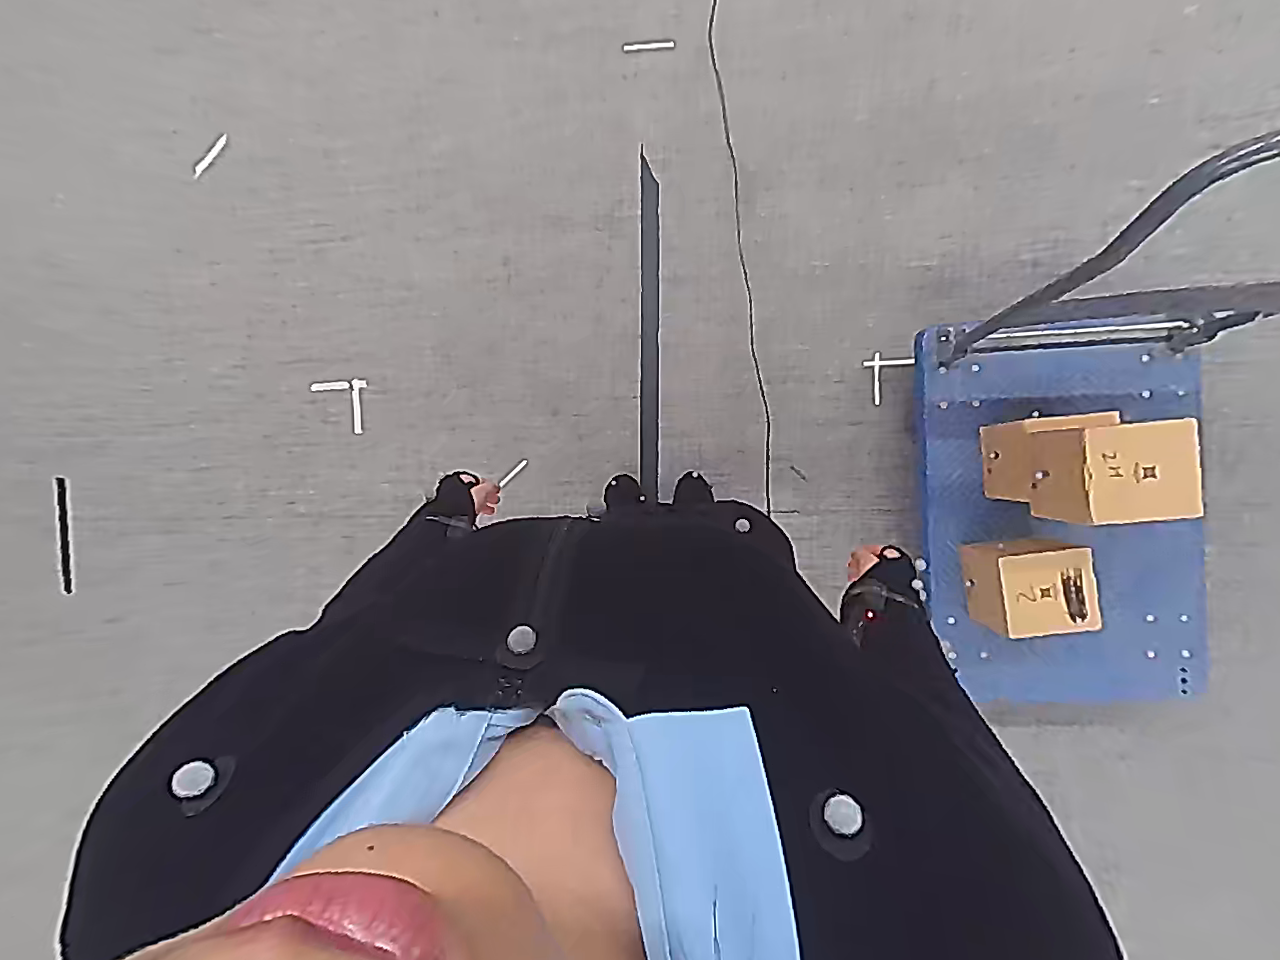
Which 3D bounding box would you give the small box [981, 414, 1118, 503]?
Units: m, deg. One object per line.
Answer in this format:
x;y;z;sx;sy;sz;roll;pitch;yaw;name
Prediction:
0.856;-0.046;1.138;0.179;0.176;0.168;-5;91;7;small box

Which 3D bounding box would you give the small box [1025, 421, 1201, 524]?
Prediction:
0.840;-0.015;0.975;0.179;0.176;0.168;-5;91;7;small box
